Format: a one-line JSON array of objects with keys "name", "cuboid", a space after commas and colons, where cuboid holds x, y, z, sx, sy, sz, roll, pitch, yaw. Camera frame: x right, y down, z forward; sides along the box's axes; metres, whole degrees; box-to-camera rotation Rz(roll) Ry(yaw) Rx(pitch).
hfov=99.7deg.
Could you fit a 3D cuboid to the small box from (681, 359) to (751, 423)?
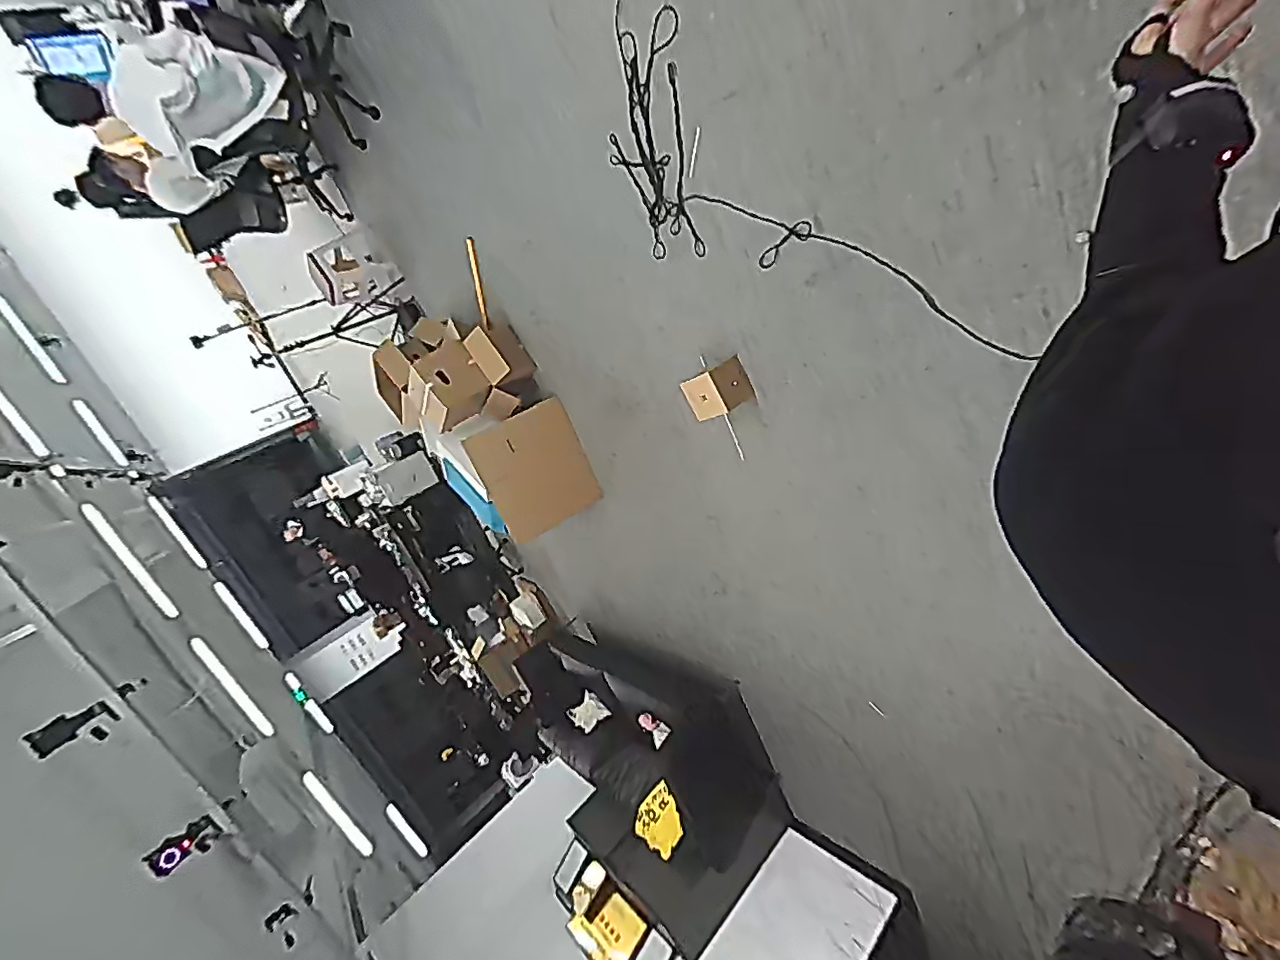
[{"name": "small box", "cuboid": [0.296, -0.339, 2.043, 0.179, 0.176, 0.168, -11, 111, 58]}]
